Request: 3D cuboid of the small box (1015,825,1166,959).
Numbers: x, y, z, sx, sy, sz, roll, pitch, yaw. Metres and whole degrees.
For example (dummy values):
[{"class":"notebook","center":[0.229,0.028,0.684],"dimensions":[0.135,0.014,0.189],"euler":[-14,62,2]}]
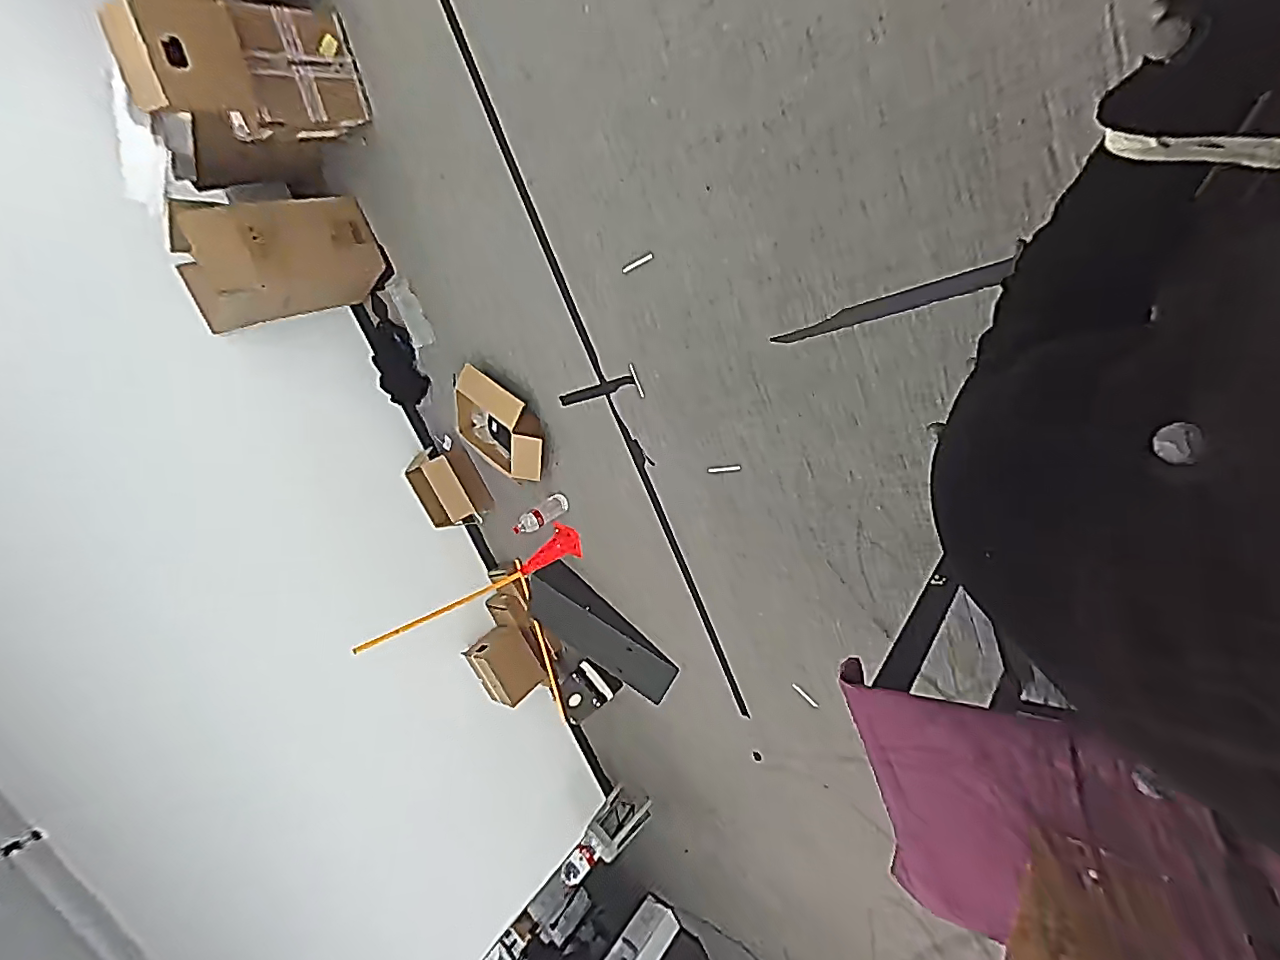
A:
[{"class":"small box","center":[0.713,0.704,0.855],"dimensions":[0.168,0.176,0.179],"euler":[2,118,45]}]
